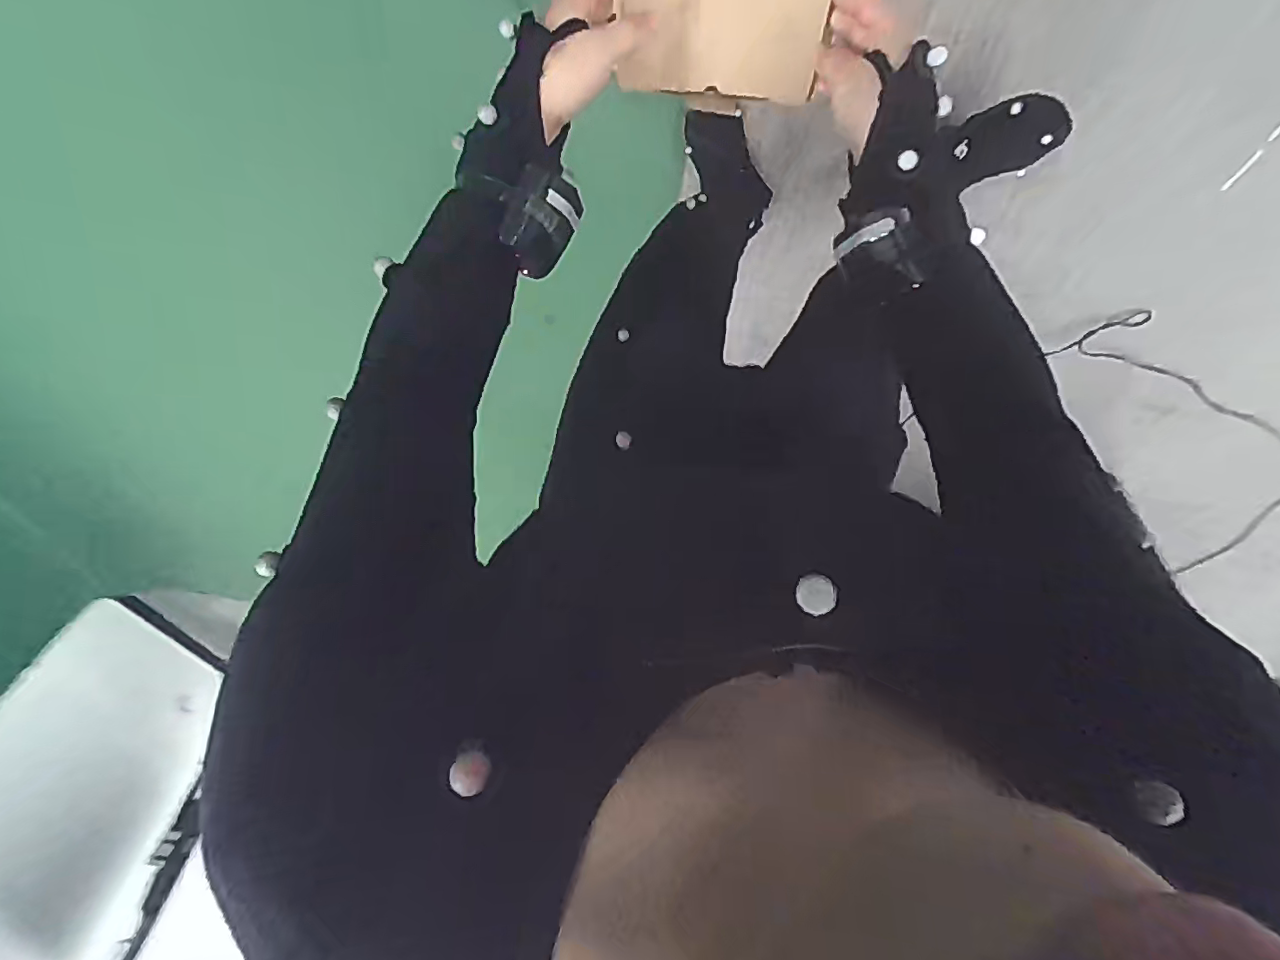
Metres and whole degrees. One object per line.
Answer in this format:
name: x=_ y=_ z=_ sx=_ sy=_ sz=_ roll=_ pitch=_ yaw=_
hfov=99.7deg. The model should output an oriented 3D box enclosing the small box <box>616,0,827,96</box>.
small box: x=0.073 y=-0.454 z=0.443 sx=0.168 sy=0.176 sz=0.179 roll=6 pitch=144 yaw=1
